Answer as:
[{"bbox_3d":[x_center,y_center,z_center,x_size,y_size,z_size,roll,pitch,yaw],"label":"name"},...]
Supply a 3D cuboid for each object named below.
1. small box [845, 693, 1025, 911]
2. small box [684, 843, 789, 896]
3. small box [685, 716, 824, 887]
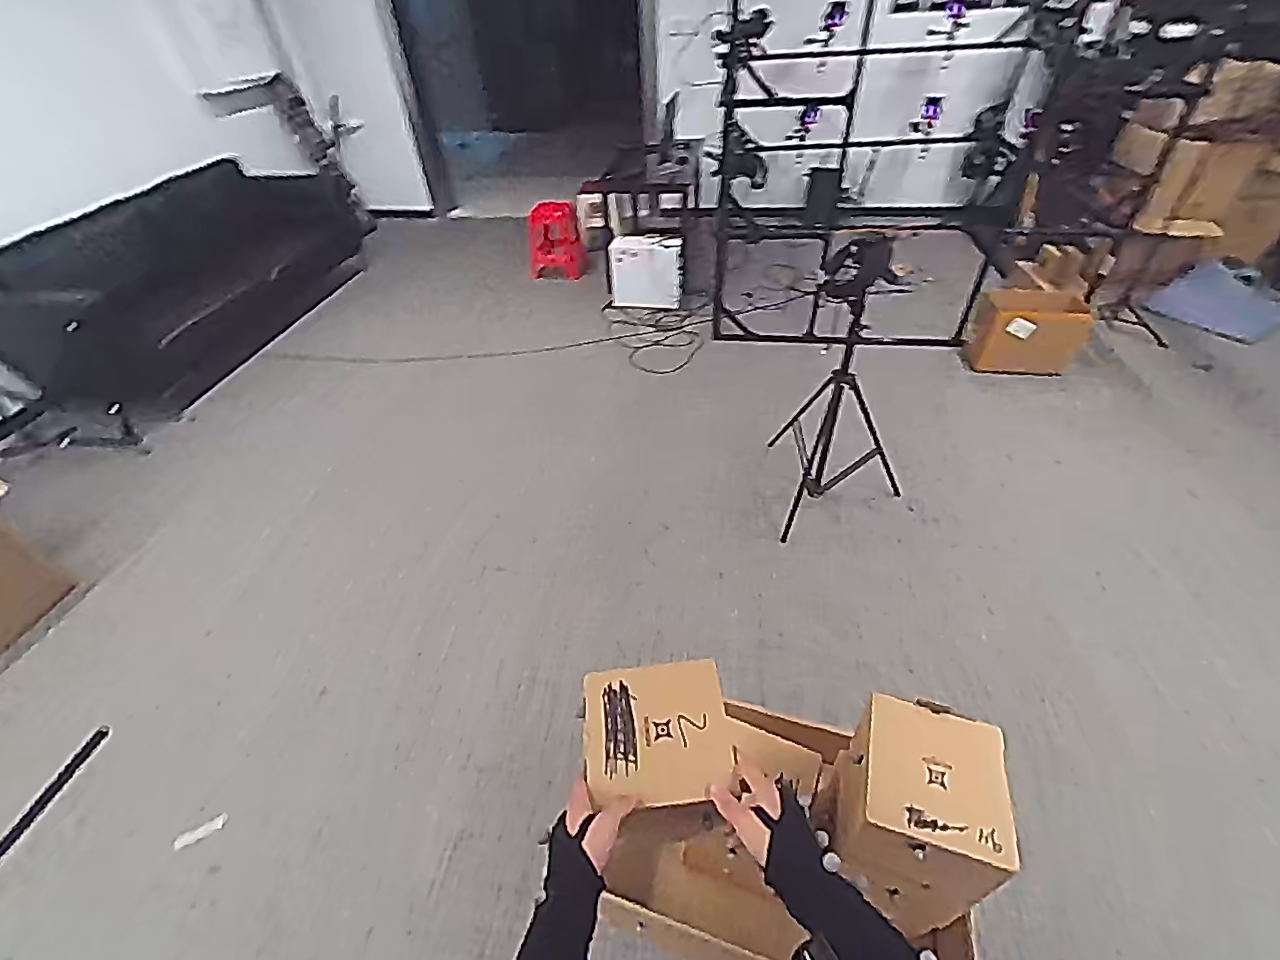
[{"bbox_3d":[0.380,0.428,0.725,0.168,0.176,0.179,11,43,18],"label":"small box"},{"bbox_3d":[0.187,0.638,1.002,0.179,0.176,0.168,12,44,15],"label":"small box"},{"bbox_3d":[0.182,0.527,0.881,0.179,0.176,0.168,16,45,19],"label":"small box"}]
